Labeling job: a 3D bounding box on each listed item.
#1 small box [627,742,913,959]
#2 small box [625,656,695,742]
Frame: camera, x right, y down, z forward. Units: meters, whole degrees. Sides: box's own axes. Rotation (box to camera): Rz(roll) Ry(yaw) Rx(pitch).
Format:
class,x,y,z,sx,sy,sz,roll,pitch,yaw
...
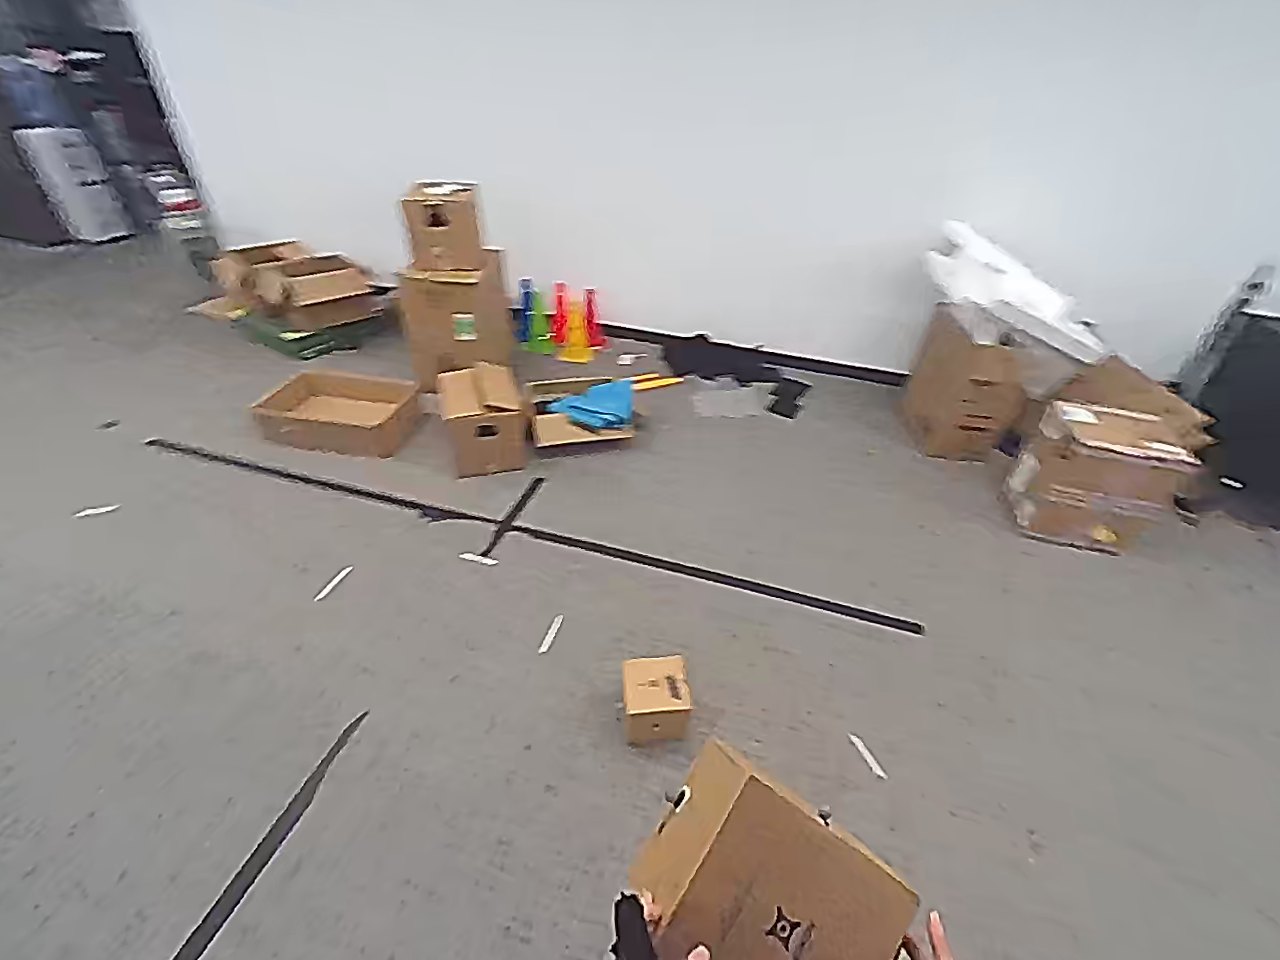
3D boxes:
class,x,y,z,sx,sy,sz,roll,pitch,yaw
small box,0.104,0.371,0.504,0.179,0.176,0.168,32,72,5
small box,0.051,0.625,1.543,0.179,0.176,0.168,-2,38,-6
